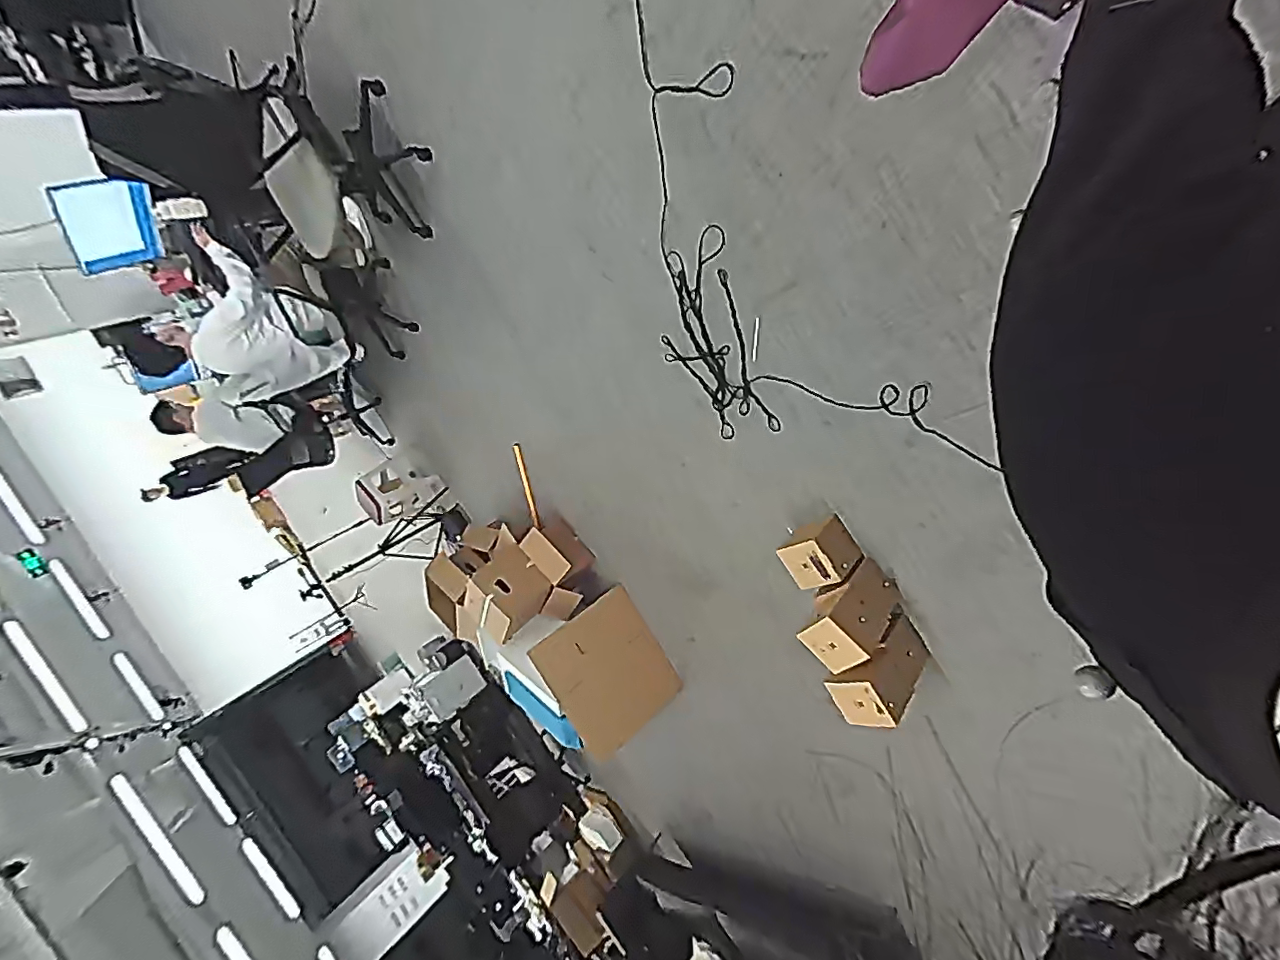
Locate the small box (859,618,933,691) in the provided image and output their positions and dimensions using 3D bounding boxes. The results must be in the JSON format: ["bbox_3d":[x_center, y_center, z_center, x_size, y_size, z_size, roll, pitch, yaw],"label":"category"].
[{"bbox_3d":[0.844,0.582,1.819,0.179,0.176,0.168,56,143,-2],"label":"small box"}]

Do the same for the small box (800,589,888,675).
[{"bbox_3d":[0.643,0.470,1.687,0.168,0.176,0.179,46,142,12],"label":"small box"}]
